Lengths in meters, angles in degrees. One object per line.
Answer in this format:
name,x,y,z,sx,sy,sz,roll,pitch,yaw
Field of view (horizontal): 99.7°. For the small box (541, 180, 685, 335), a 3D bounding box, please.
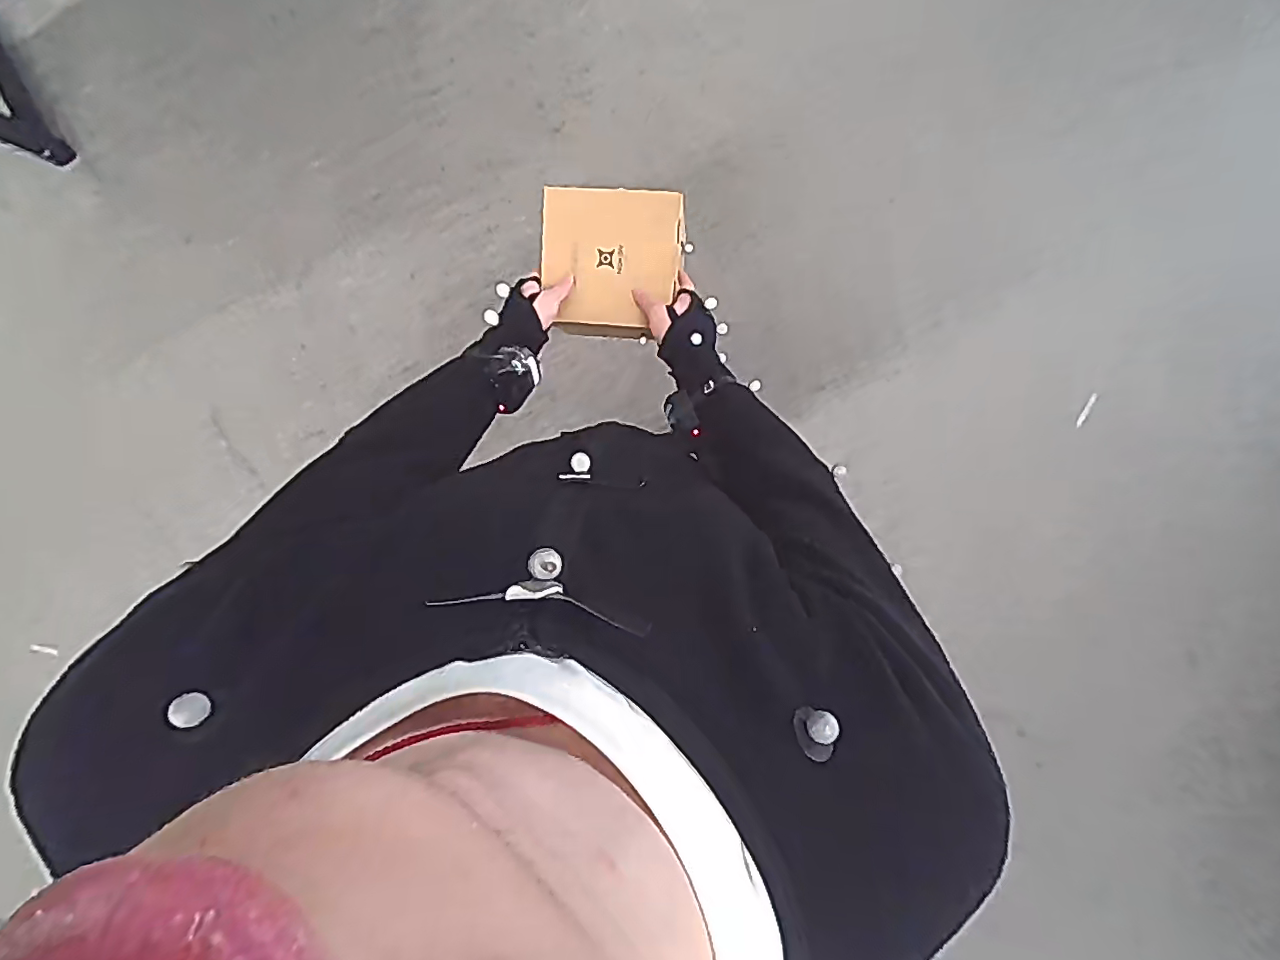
small box,-0.030,-0.301,0.761,0.179,0.176,0.168,4,98,7
